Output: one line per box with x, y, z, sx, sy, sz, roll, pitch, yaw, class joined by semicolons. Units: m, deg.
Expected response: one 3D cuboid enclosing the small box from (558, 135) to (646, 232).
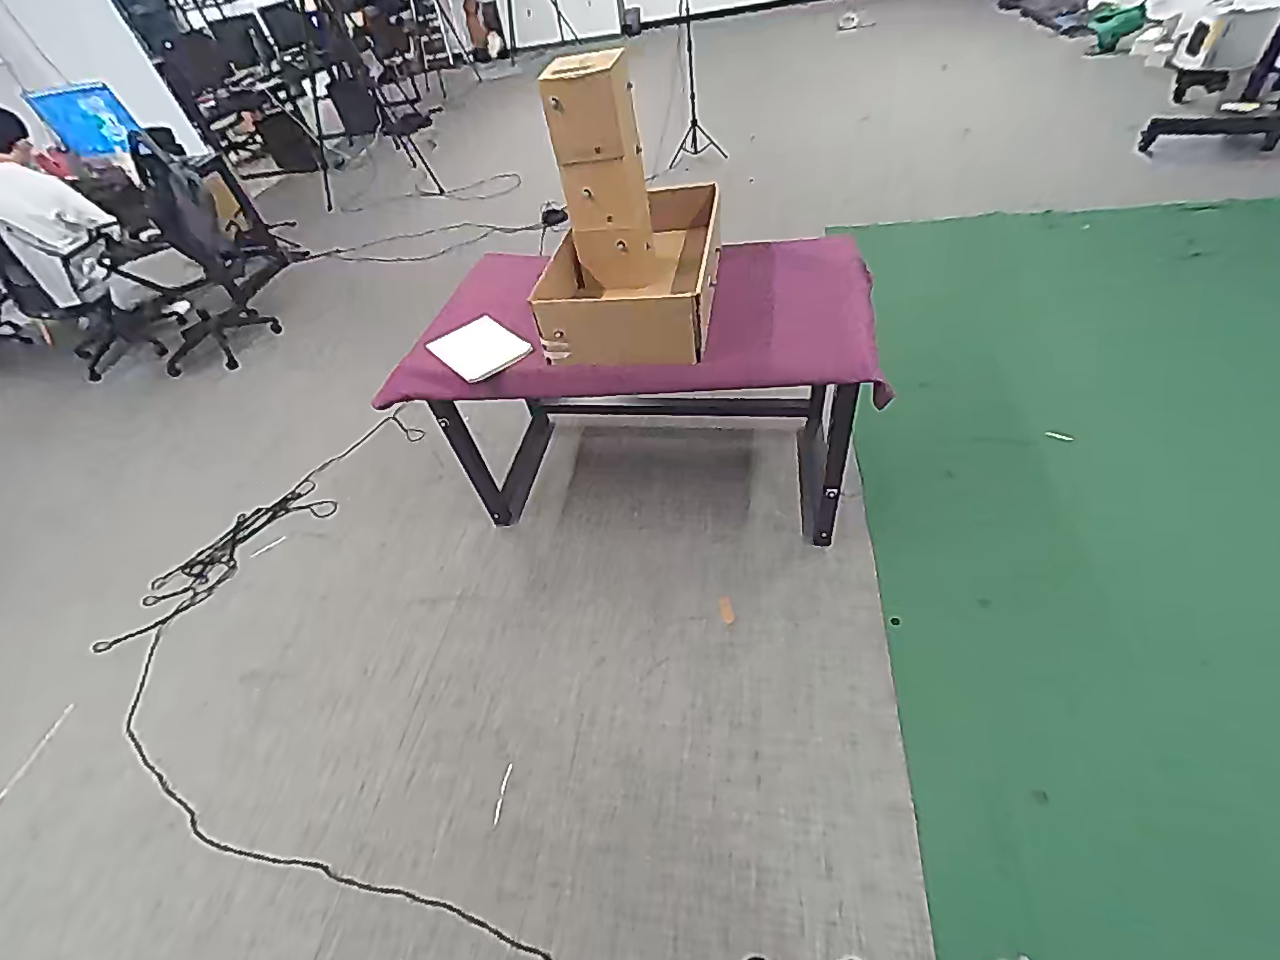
-0.088;-0.748;1.378;0.168;0.176;0.179;3;50;14;small box
